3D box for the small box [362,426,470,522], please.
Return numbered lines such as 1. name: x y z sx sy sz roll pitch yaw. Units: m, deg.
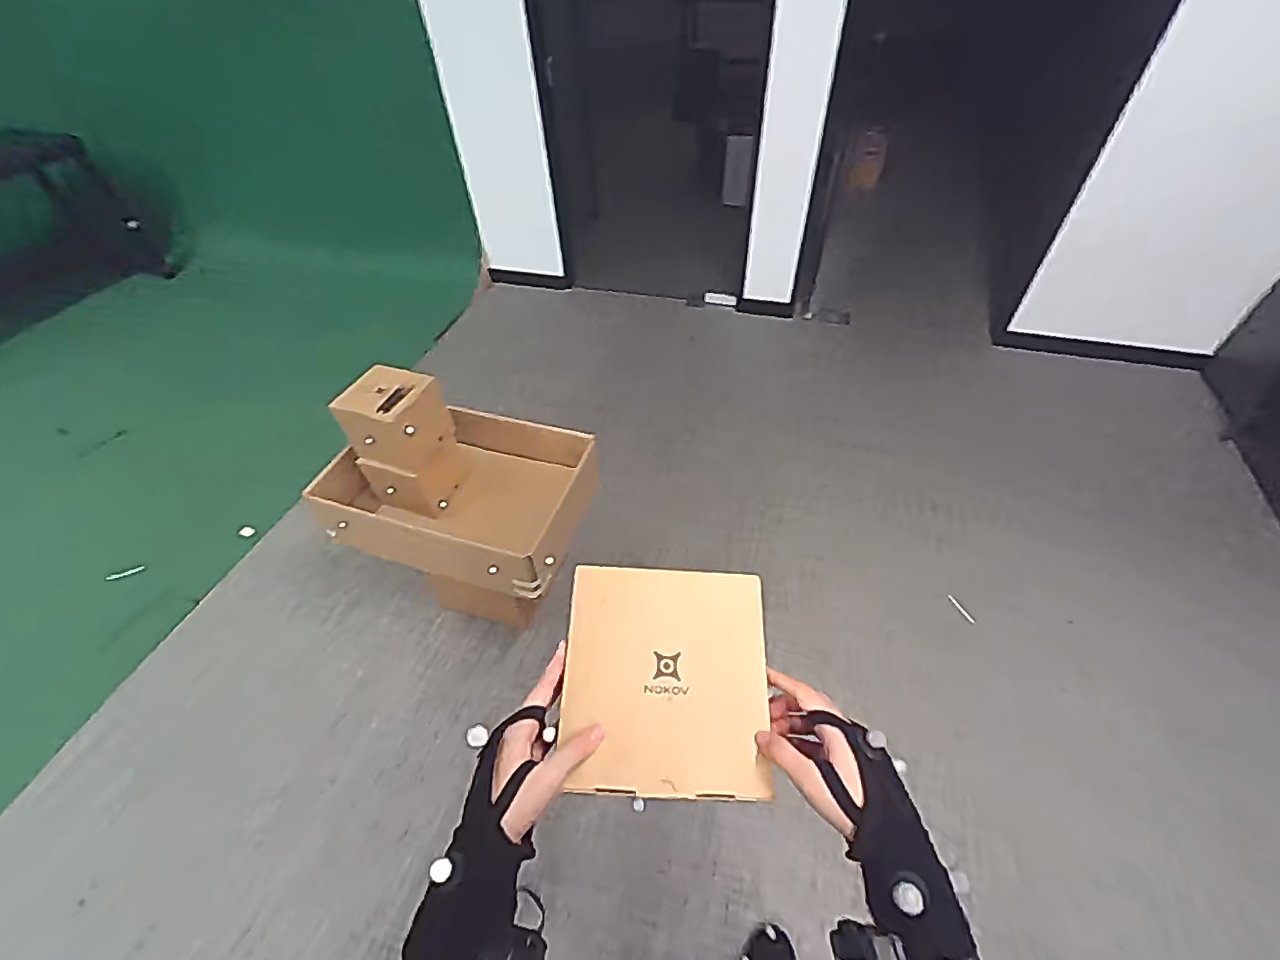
1. small box: -0.572 -0.013 1.413 0.179 0.176 0.168 14 50 15
